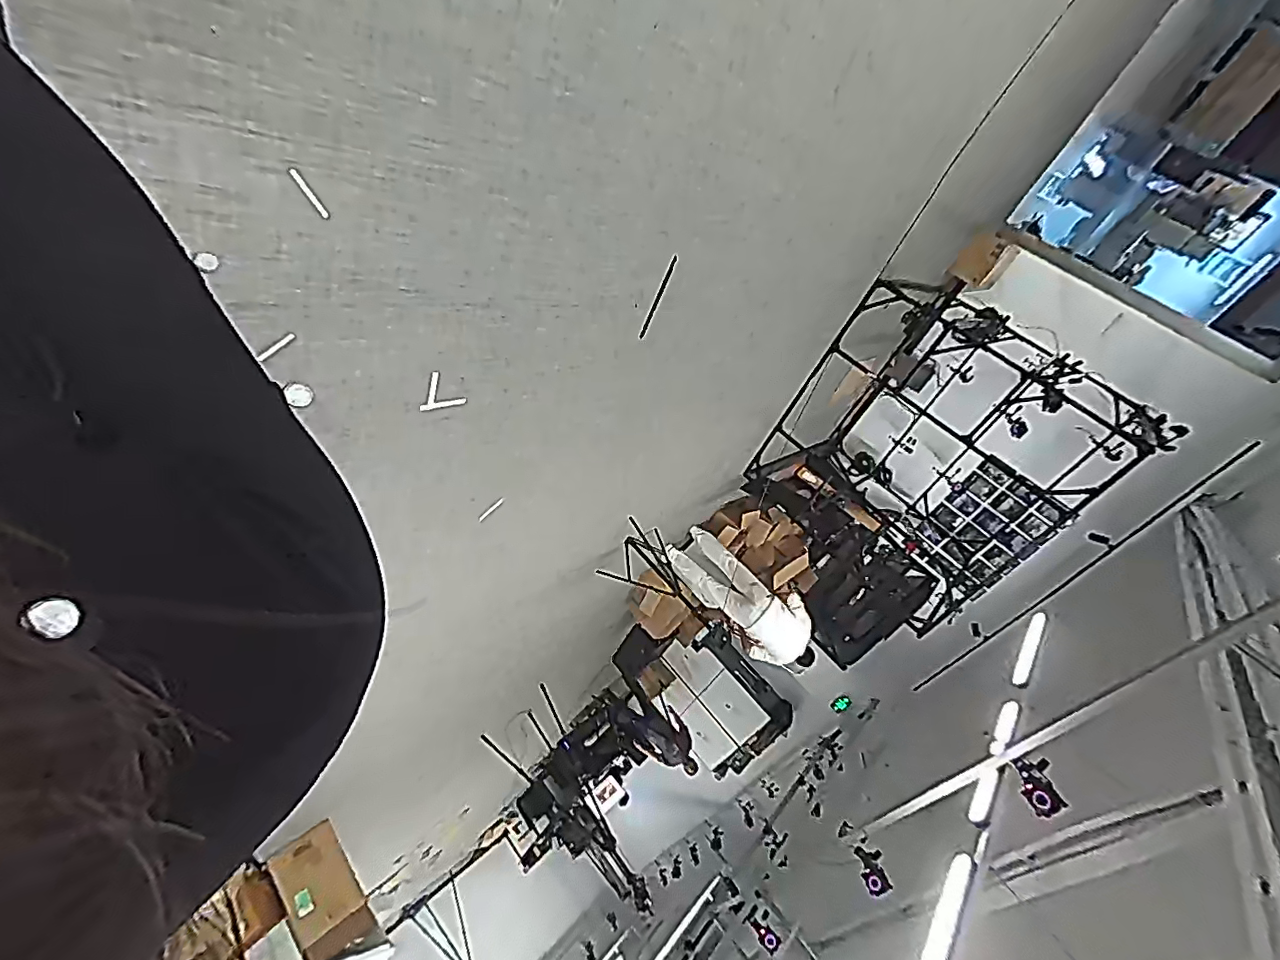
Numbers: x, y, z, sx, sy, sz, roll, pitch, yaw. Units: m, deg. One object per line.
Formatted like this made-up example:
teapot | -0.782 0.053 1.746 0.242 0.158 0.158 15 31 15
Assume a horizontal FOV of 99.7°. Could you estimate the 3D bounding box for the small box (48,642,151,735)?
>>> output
small box | -1.604 0.608 1.606 0.168 0.176 0.179 -22 149 -43
